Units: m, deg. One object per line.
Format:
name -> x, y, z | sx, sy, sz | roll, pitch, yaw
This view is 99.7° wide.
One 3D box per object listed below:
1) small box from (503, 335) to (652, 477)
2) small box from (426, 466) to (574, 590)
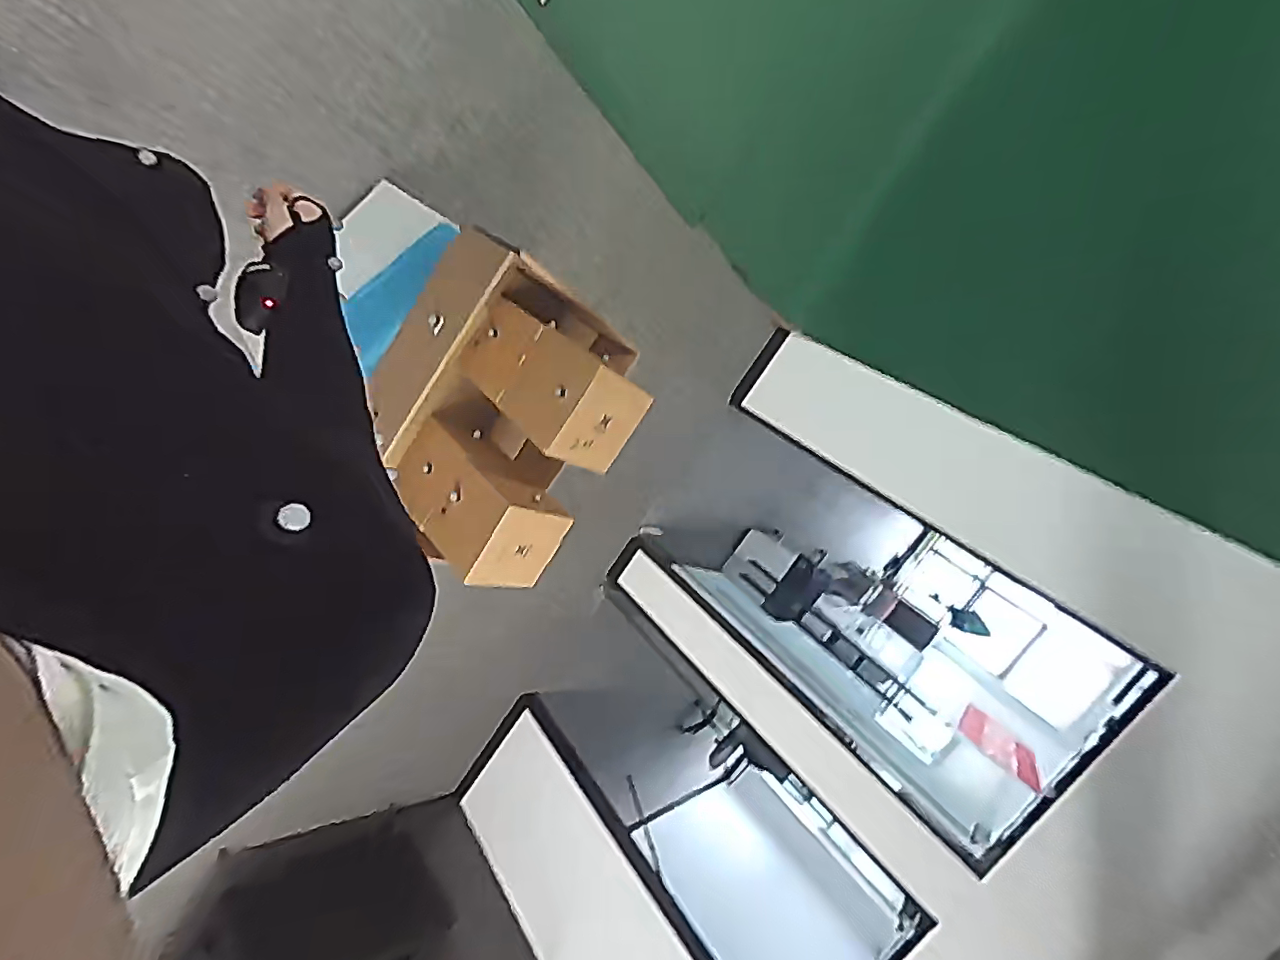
small box -> -0.117, -0.135, 0.986 | 0.179, 0.176, 0.168 | -55, 146, 9
small box -> -0.268, 0.092, 1.034 | 0.168, 0.176, 0.179 | -57, 146, 8
